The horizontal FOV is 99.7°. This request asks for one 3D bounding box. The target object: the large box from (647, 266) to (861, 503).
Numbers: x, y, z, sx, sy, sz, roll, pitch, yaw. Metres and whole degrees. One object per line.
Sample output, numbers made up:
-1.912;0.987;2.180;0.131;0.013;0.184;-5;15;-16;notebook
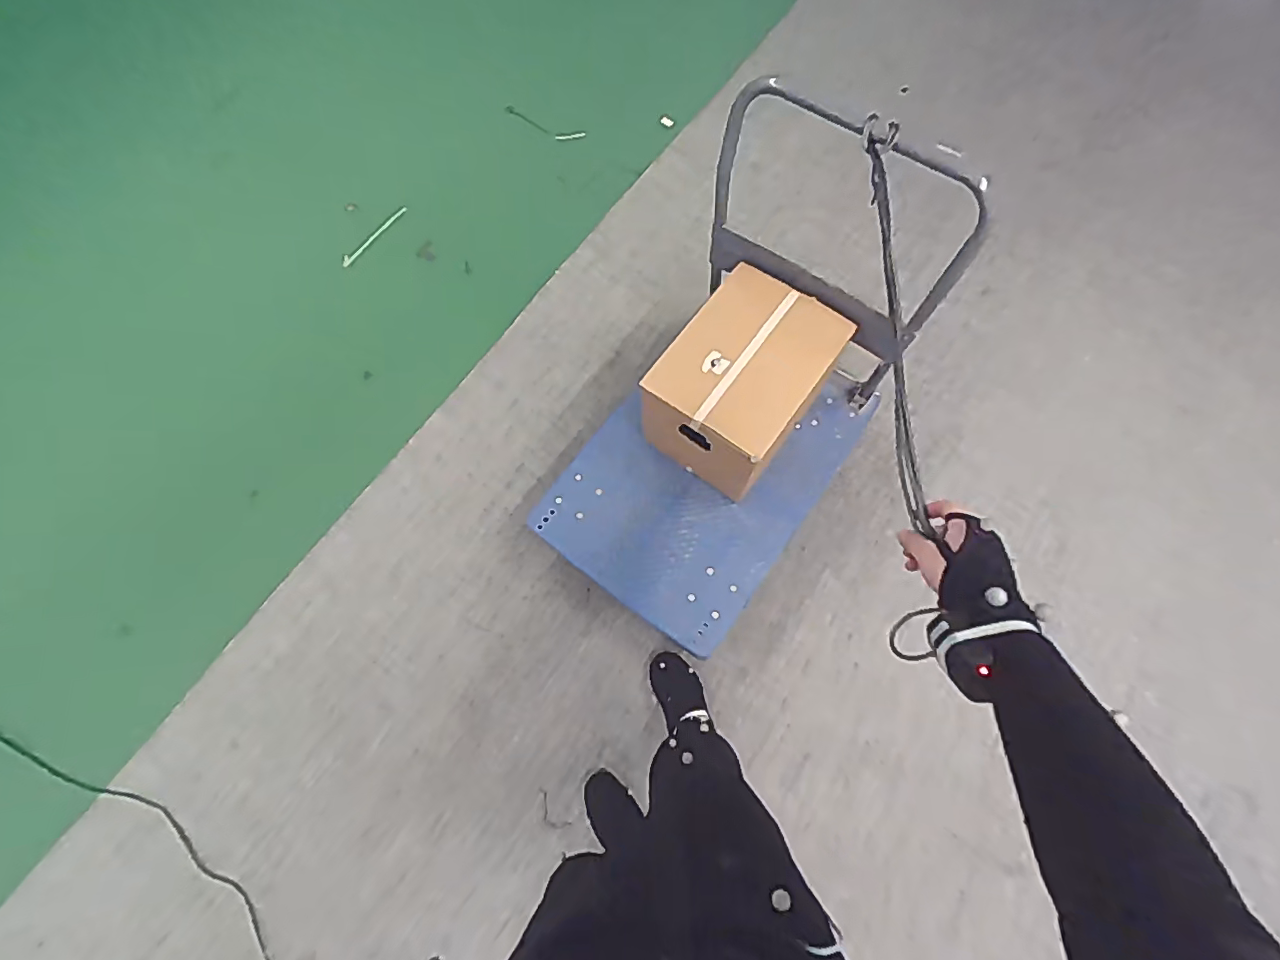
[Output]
0.256;-0.216;1.313;0.320;0.320;0.408;35;77;13;large box
